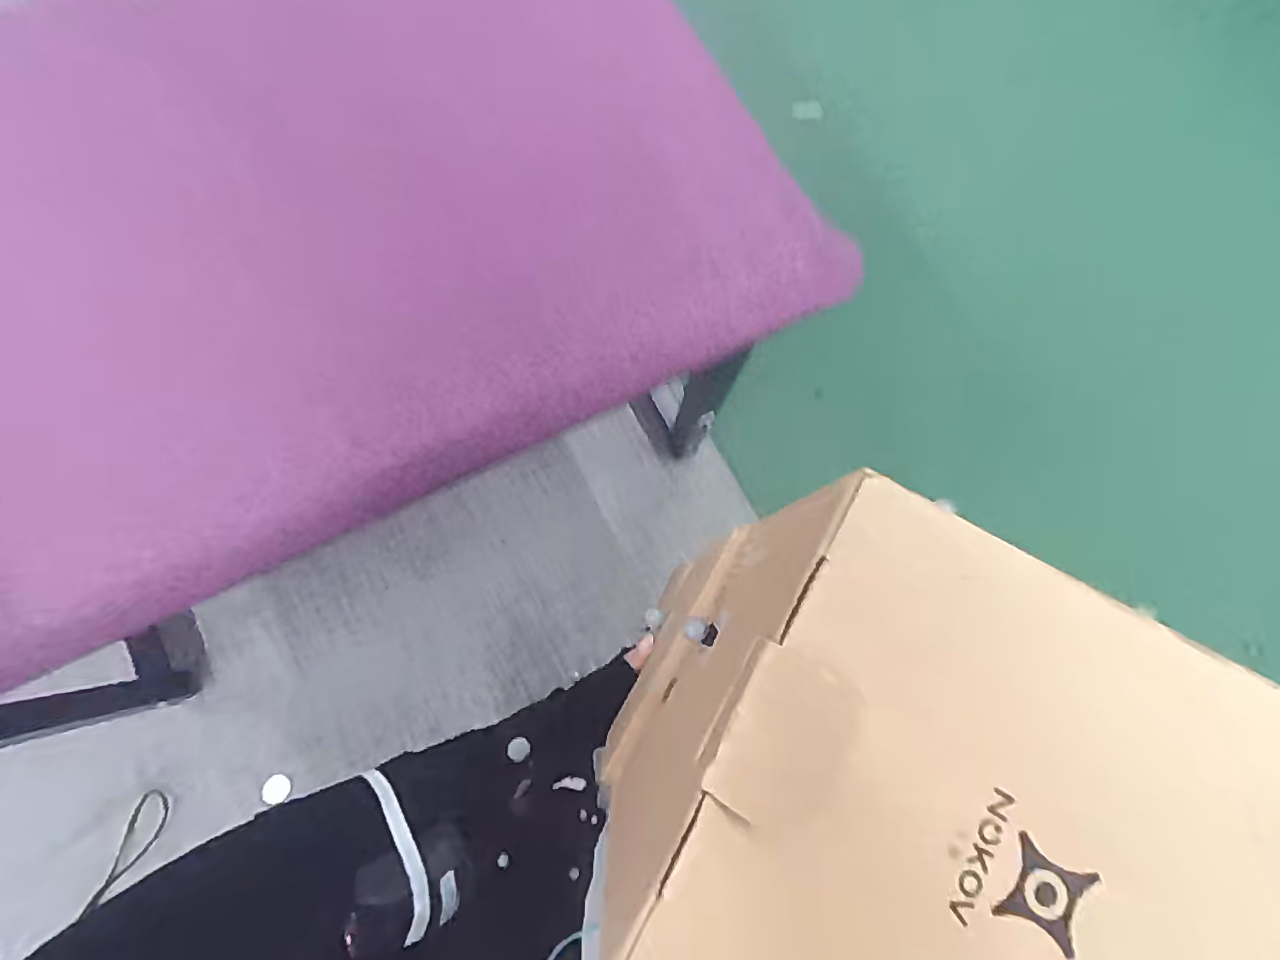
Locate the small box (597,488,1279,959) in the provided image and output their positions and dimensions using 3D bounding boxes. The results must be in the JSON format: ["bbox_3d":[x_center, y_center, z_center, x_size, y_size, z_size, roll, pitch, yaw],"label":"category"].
[{"bbox_3d":[0.101,0.124,0.223,0.179,0.176,0.168,29,80,5],"label":"small box"}]
